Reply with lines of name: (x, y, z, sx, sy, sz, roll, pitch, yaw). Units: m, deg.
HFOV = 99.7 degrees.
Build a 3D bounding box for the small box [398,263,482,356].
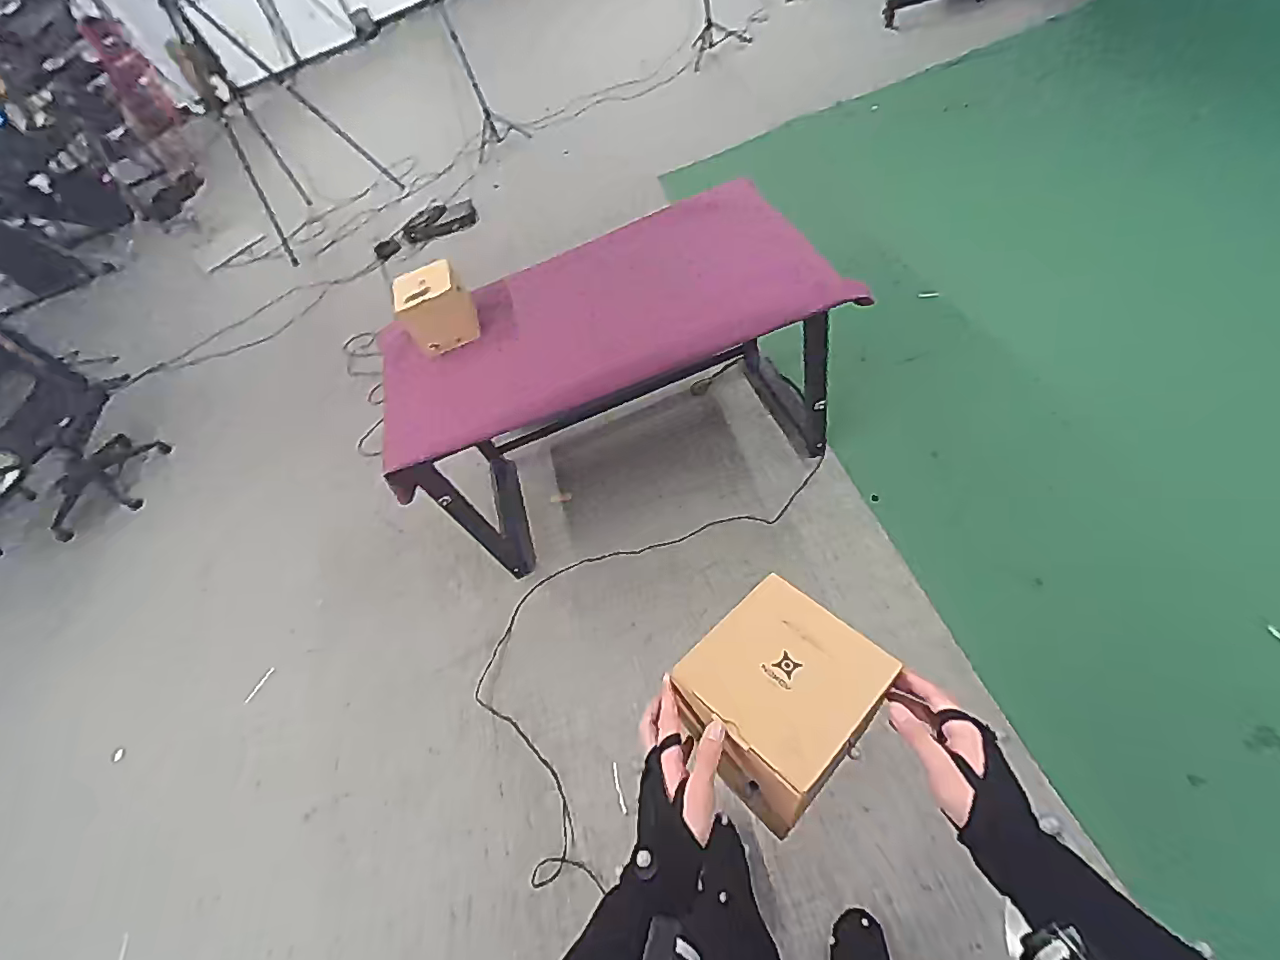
small box: (-0.566, -0.476, 1.543, 0.168, 0.176, 0.179, -21, 52, 1)
